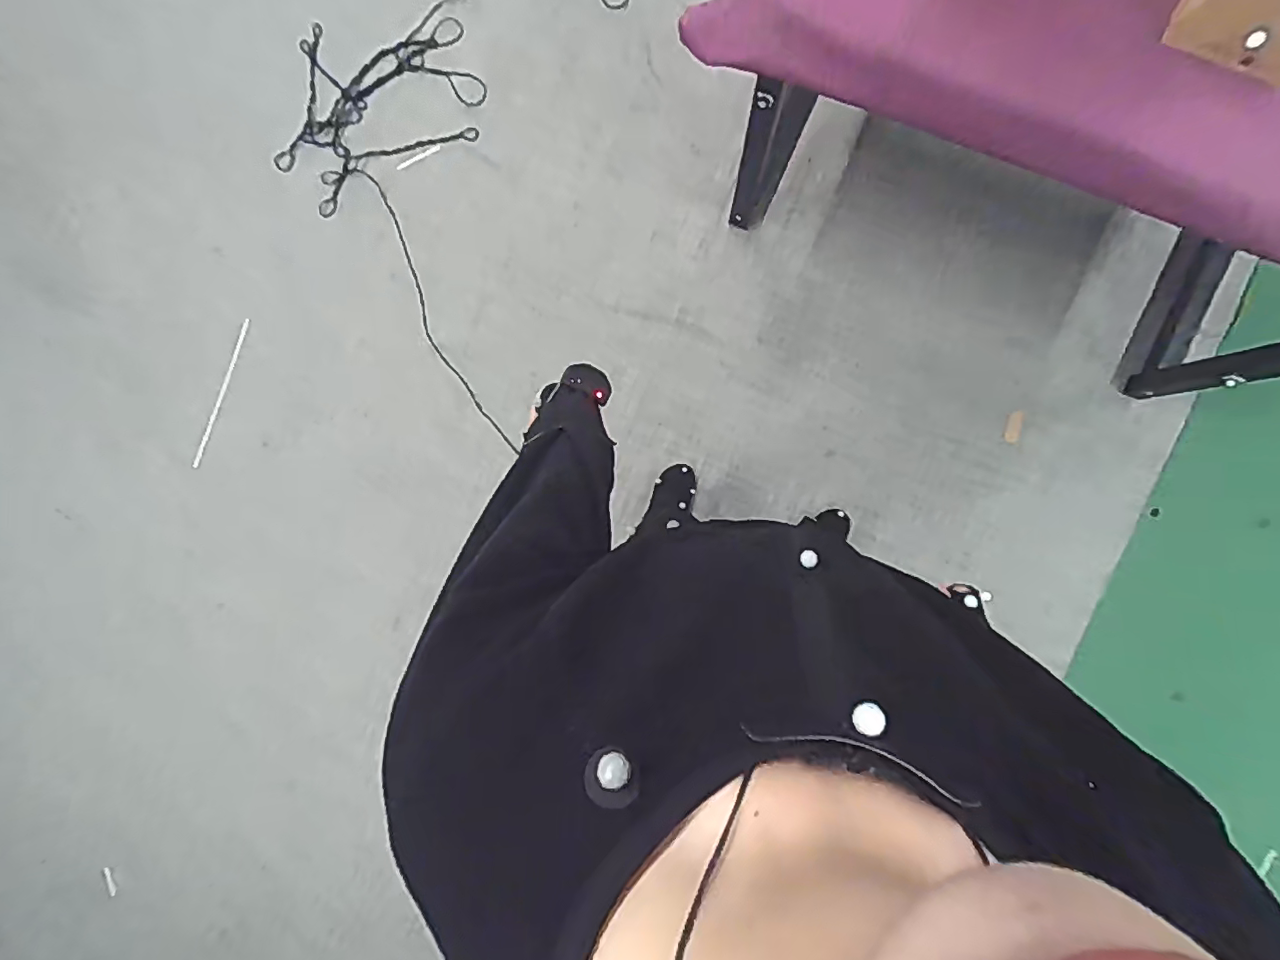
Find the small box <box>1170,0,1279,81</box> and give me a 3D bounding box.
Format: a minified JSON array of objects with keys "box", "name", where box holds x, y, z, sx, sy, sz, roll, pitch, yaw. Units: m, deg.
[{"box":[0.800,-0.633,0.634,0.168,0.176,0.179,26,93,4],"name":"small box"}]
